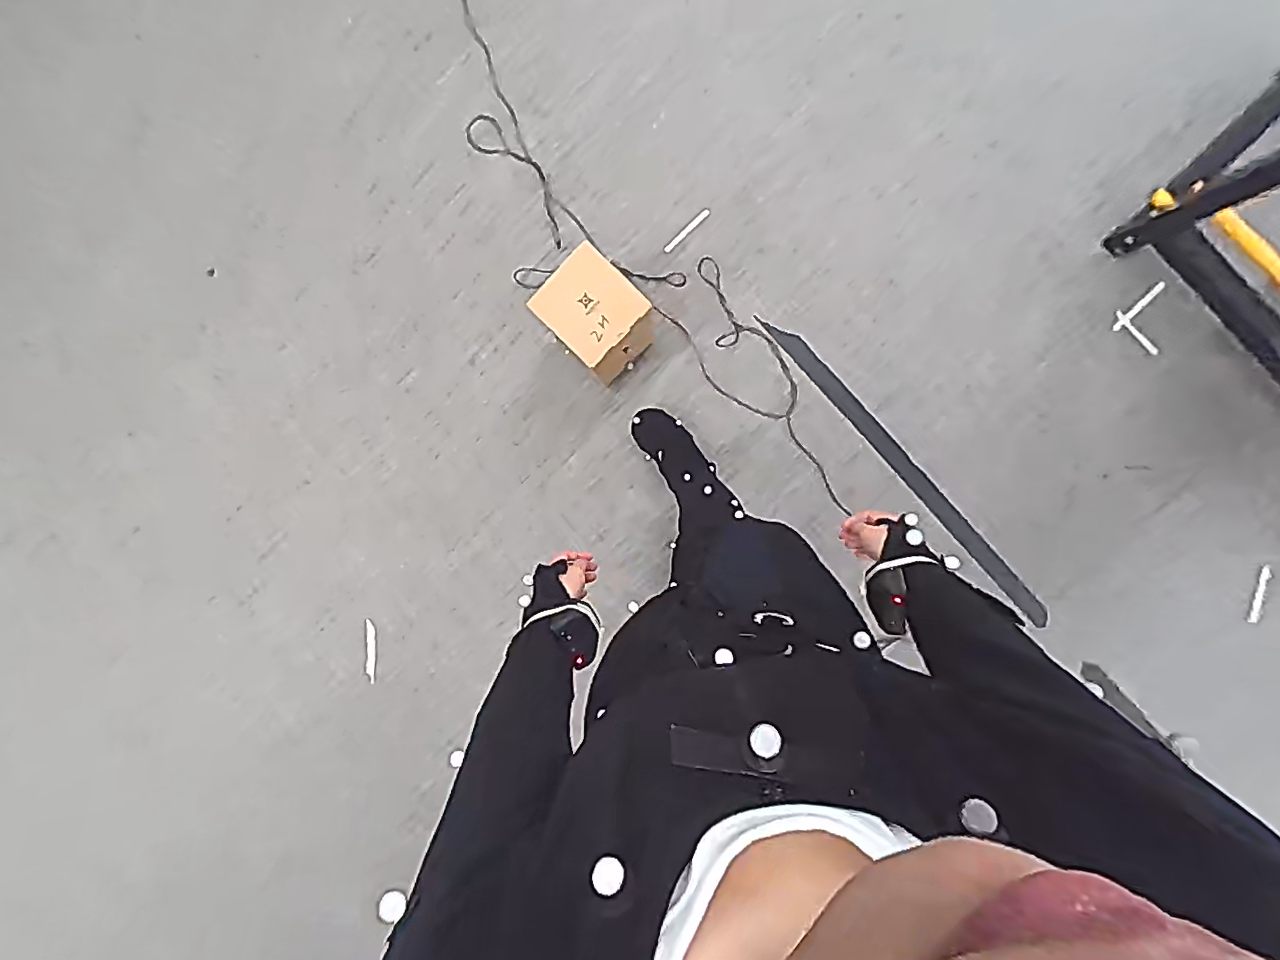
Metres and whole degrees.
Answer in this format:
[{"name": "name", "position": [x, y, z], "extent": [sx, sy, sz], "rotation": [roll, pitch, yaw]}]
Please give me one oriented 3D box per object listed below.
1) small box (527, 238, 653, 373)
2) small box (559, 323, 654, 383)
[{"name": "small box", "position": [-0.091, -0.331, 1.069], "extent": [0.179, 0.176, 0.168], "rotation": [44, 95, -2]}, {"name": "small box", "position": [-0.087, -0.341, 1.233], "extent": [0.168, 0.176, 0.179], "rotation": [-44, 92, 4]}]
